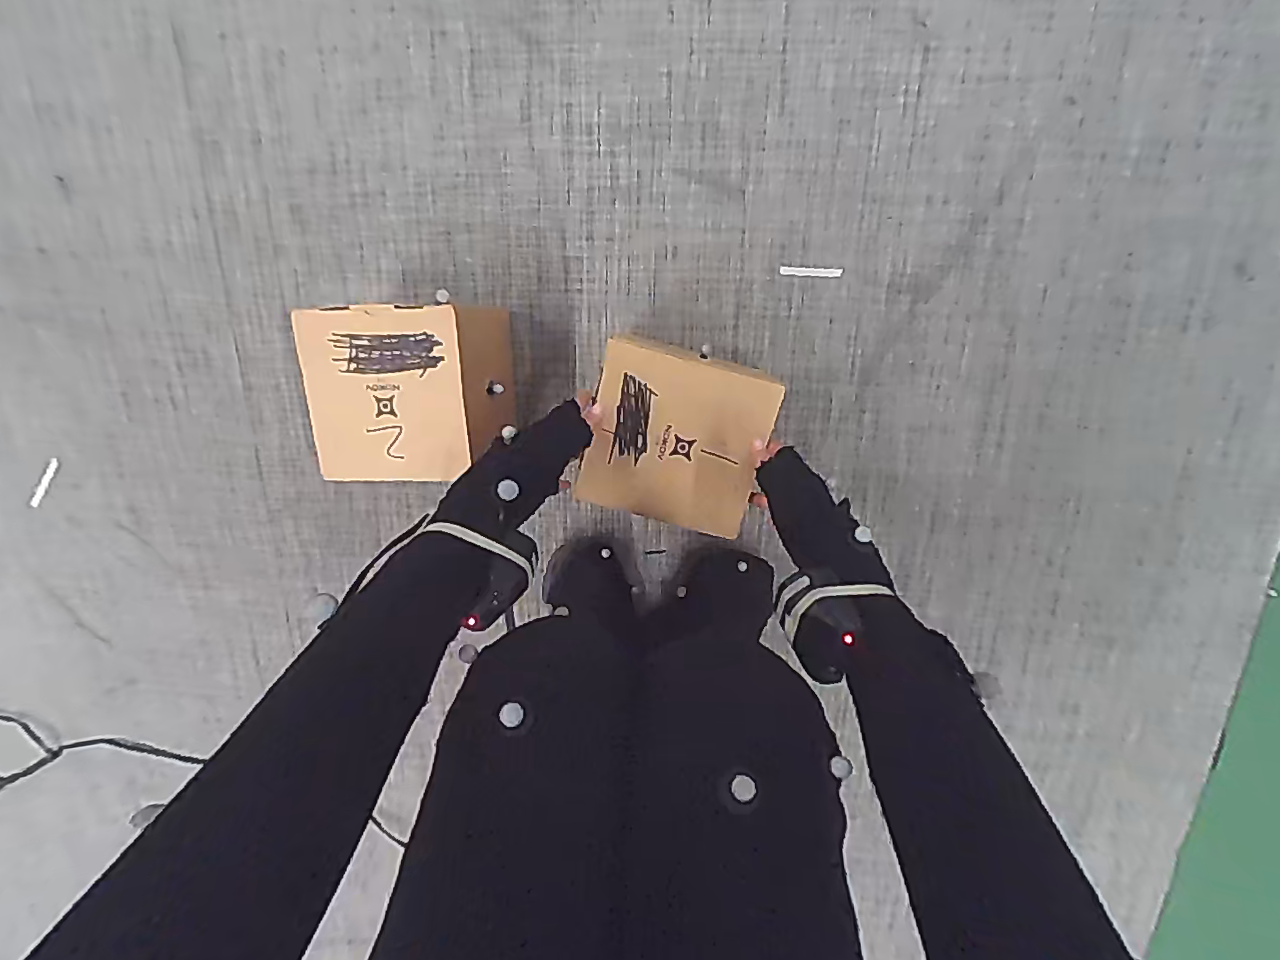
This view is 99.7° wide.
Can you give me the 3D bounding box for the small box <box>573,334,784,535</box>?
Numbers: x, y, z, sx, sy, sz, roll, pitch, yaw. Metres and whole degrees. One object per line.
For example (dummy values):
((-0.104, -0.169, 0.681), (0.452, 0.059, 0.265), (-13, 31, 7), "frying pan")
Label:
((0.039, -0.061, 0.612), (0.179, 0.176, 0.168), (15, 107, -1), "small box")
